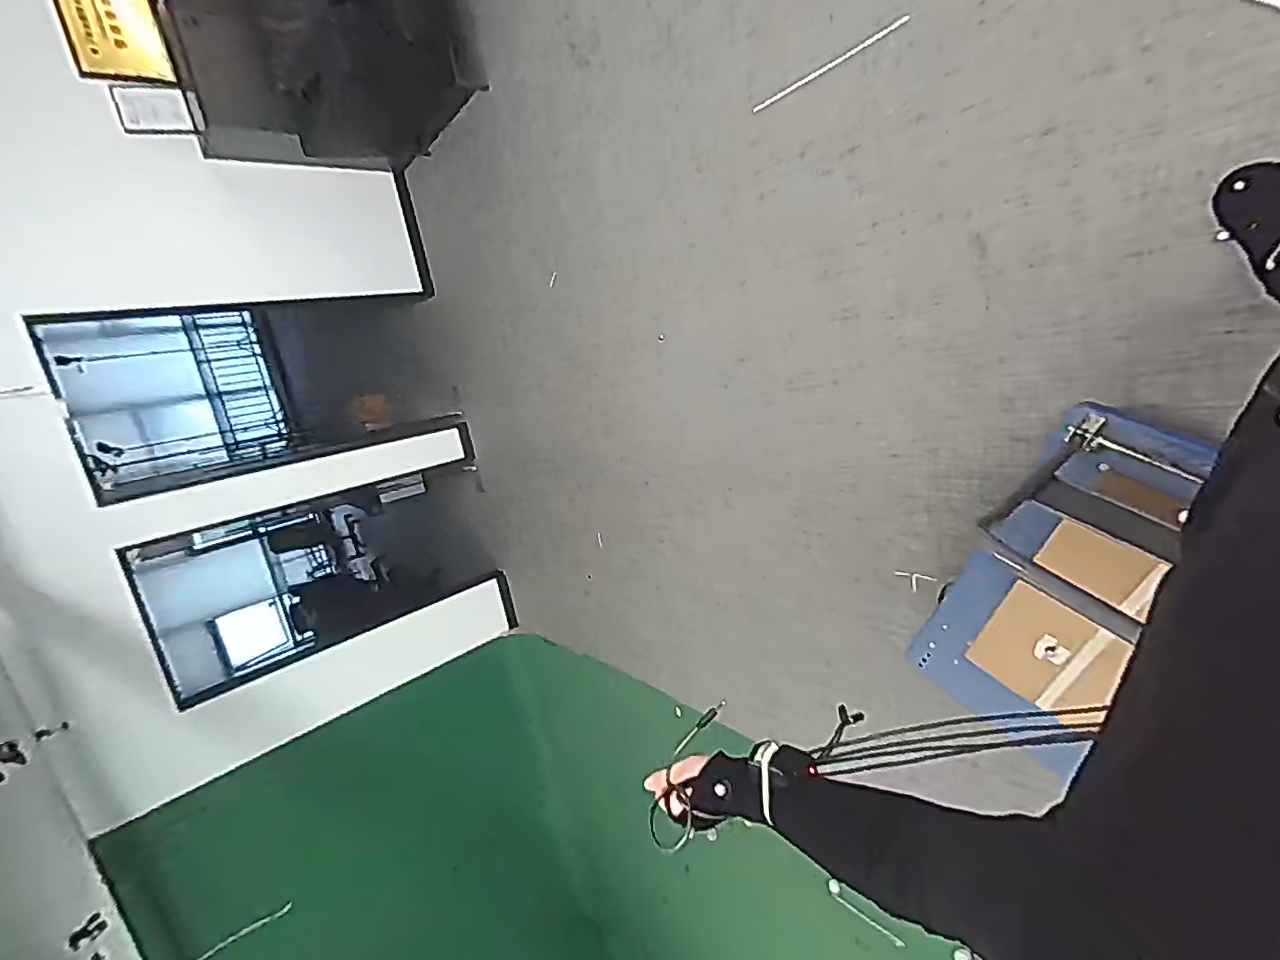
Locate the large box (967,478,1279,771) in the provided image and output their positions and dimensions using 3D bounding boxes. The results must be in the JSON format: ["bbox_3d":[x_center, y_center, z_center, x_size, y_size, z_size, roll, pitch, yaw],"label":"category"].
[{"bbox_3d":[0.950,0.267,1.085,0.320,0.320,0.408,37,132,36],"label":"large box"}]
